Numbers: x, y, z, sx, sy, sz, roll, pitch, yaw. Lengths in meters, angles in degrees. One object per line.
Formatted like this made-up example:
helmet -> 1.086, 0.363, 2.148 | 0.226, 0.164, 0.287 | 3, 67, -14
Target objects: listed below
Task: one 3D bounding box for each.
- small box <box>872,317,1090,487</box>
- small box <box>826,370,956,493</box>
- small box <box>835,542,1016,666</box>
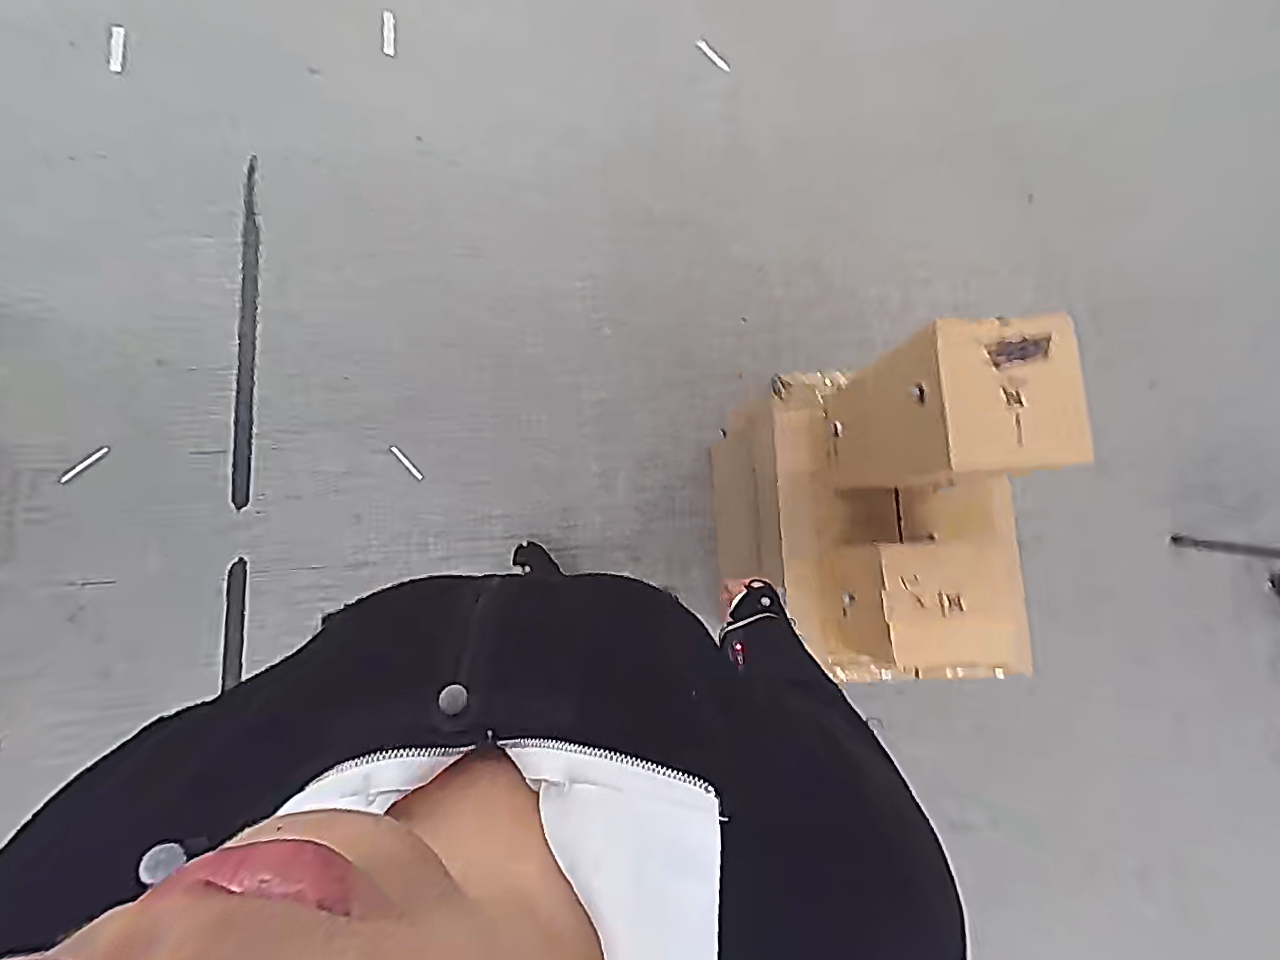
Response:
small box -> 0.416, -0.090, 0.691 | 0.168, 0.176, 0.179 | -3, 83, -2
small box -> 0.414, -0.071, 0.855 | 0.179, 0.176, 0.168 | -2, 82, -1
small box -> 0.418, 0.179, 0.818 | 0.179, 0.176, 0.168 | -2, 81, -1
